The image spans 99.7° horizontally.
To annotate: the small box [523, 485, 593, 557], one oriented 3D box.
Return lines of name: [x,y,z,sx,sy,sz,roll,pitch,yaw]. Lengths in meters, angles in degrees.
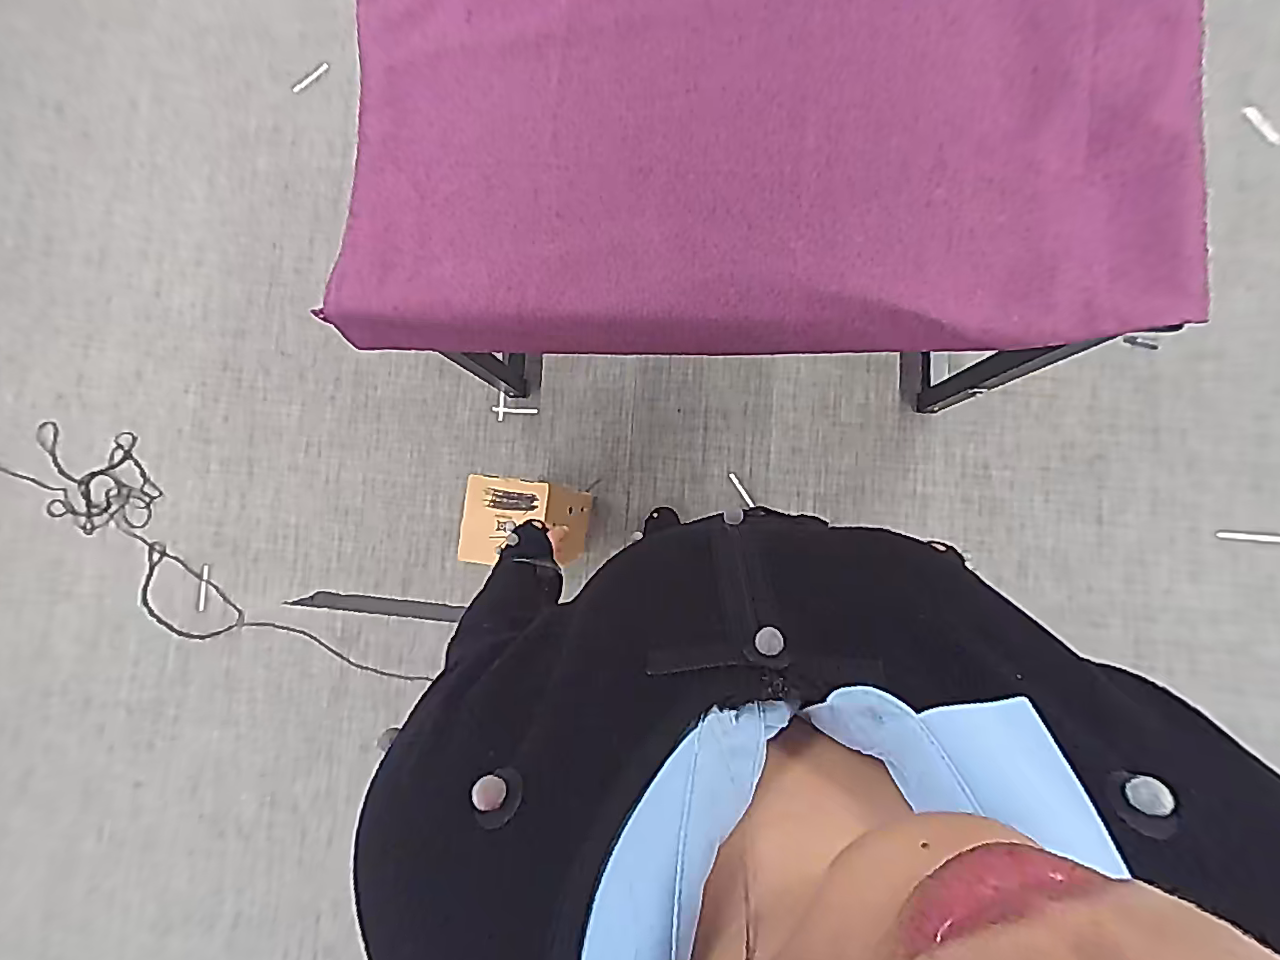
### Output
small box: [-0.229,0.115,1.460,0.168,0.176,0.179,10,87,6]

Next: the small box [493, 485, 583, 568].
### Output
small box: [-0.236,0.108,1.295,0.168,0.176,0.179,4,87,6]
